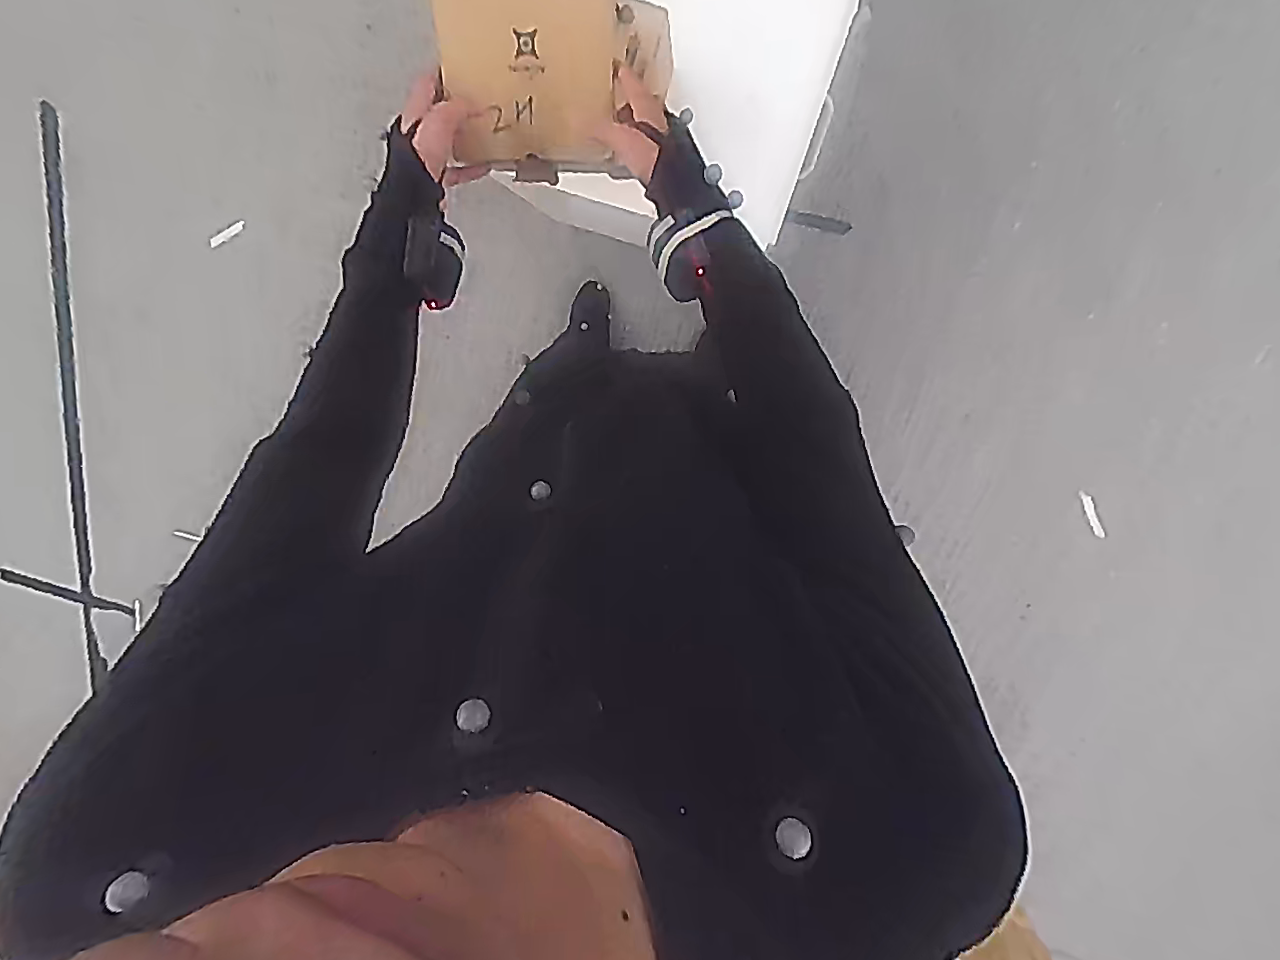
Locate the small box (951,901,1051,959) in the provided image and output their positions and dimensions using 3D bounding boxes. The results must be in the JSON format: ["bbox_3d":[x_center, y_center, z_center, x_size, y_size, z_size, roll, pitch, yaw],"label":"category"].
[{"bbox_3d":[1.048,1.363,1.551,0.179,0.176,0.168,24,108,-4],"label":"small box"}]

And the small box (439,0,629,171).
[{"bbox_3d":[-0.101,-0.439,0.576,0.168,0.176,0.179,3,117,2],"label":"small box"}]
